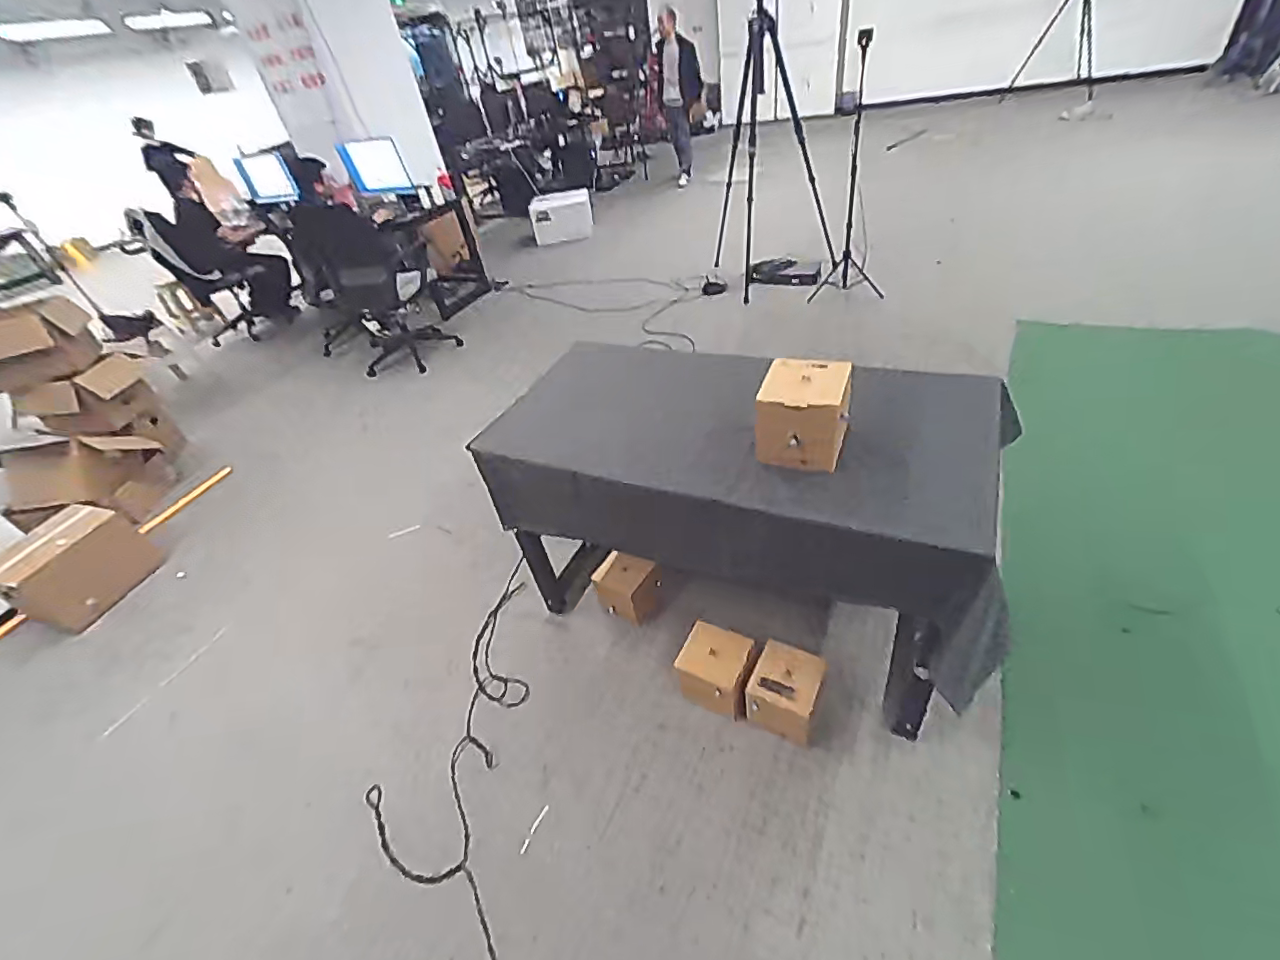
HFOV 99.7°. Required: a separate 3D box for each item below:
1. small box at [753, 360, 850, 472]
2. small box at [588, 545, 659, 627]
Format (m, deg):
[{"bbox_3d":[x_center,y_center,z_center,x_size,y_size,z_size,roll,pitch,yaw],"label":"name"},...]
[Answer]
[{"bbox_3d":[0.350,-0.138,1.167,0.168,0.176,0.179,10,44,24],"label":"small box"},{"bbox_3d":[-0.049,0.355,1.814,0.168,0.176,0.179,18,46,32],"label":"small box"}]
